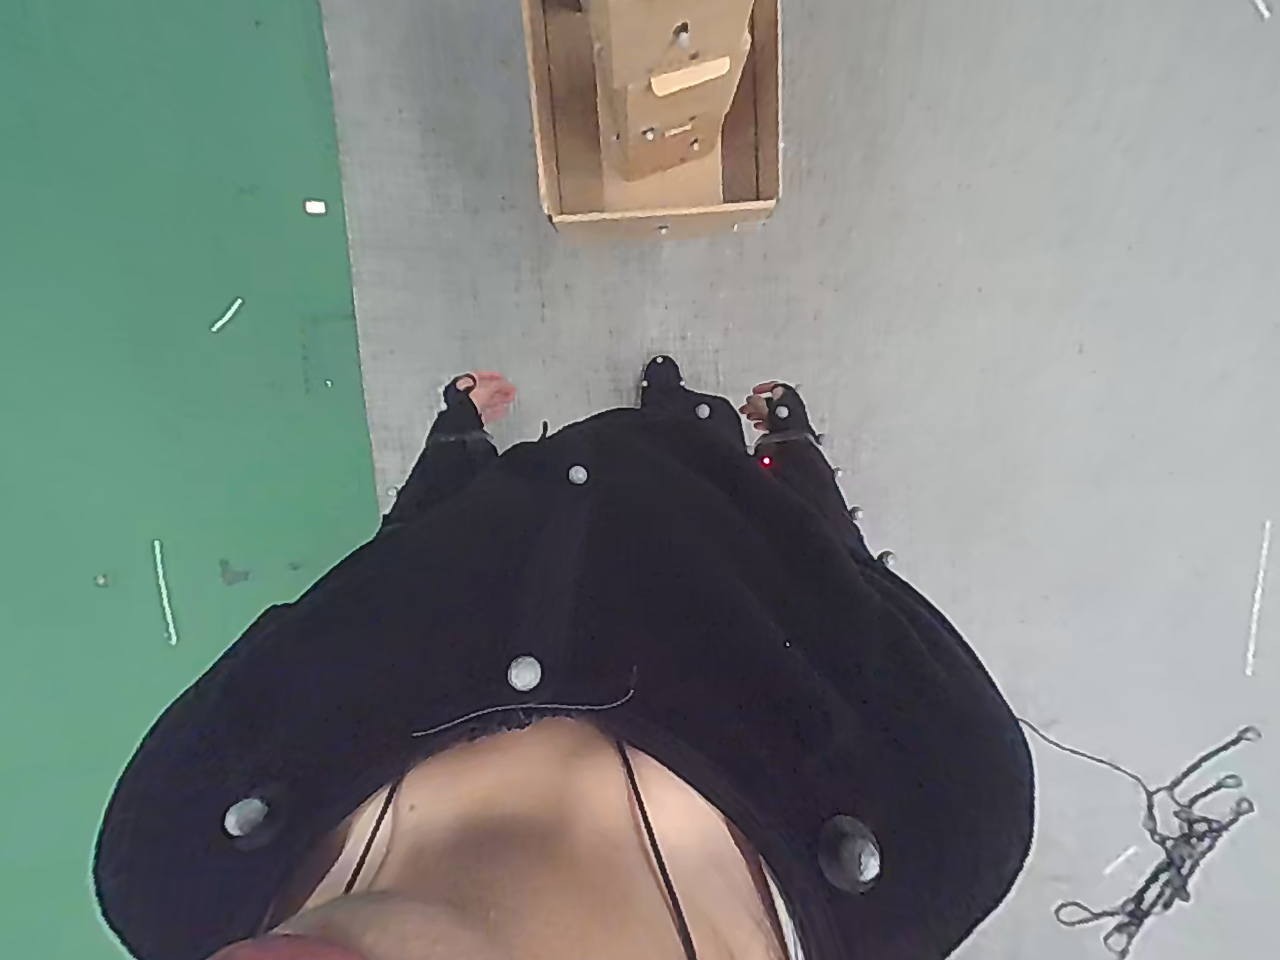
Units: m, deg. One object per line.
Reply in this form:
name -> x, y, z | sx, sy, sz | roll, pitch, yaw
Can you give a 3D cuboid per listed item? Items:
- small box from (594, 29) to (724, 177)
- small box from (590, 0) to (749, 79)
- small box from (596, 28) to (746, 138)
small box -> 0.031, -0.637, 0.907 | 0.168, 0.176, 0.179 | -16, 99, 2
small box -> 0.024, -0.576, 0.584 | 0.168, 0.176, 0.179 | -14, 100, 1
small box -> 0.034, -0.607, 0.746 | 0.168, 0.176, 0.179 | -17, 98, 2
